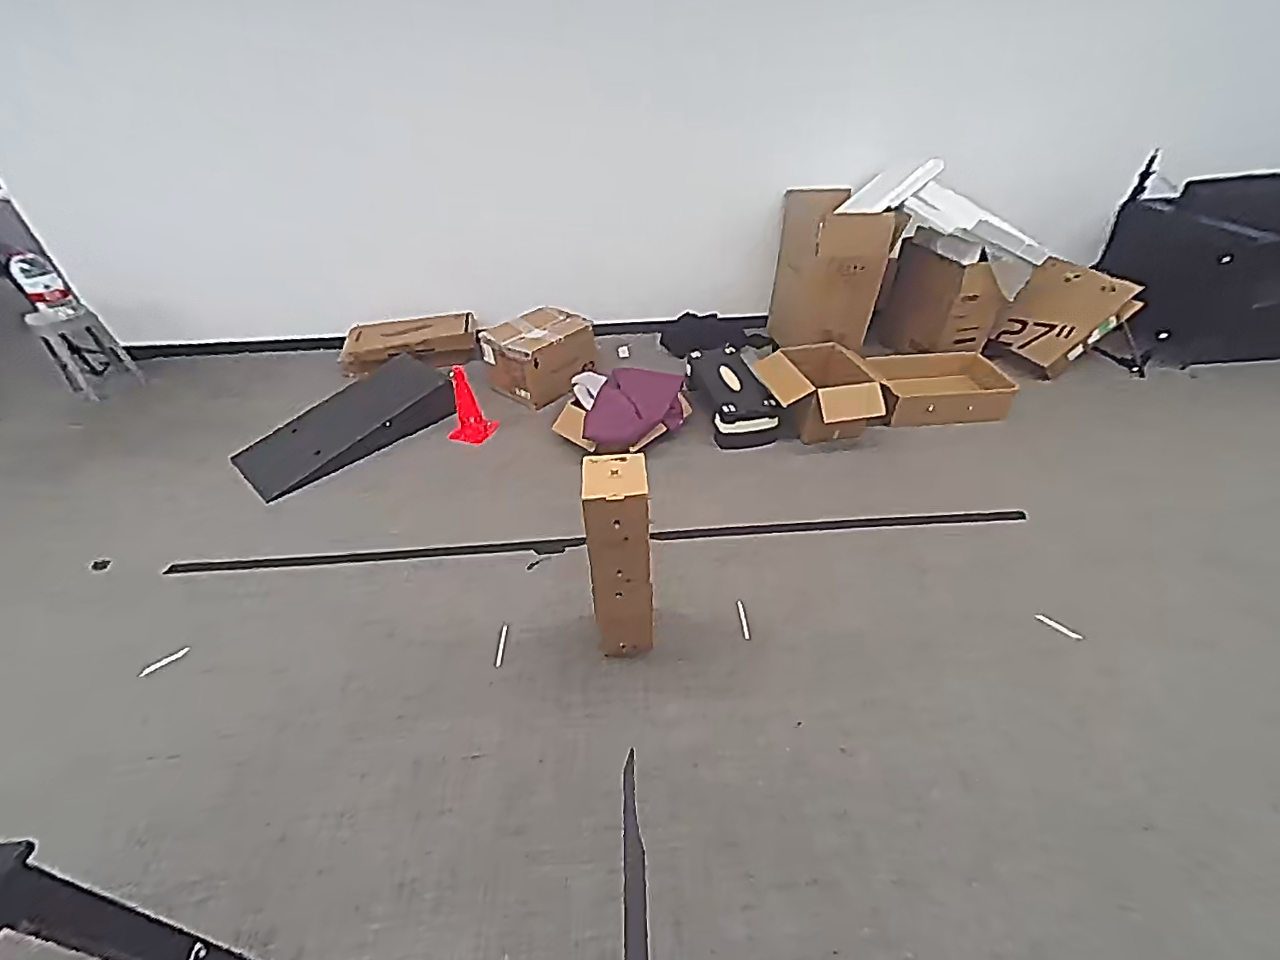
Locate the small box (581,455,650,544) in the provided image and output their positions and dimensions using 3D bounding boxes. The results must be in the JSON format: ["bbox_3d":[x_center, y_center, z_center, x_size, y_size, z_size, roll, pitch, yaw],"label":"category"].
[{"bbox_3d":[-0.061,0.055,1.424,0.168,0.176,0.179,-4,40,-1],"label":"small box"}]

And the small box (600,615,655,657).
[{"bbox_3d":[-0.046,0.438,1.734,0.168,0.176,0.179,-7,41,-5],"label":"small box"}]

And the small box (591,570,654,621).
[{"bbox_3d":[-0.051,0.310,1.631,0.179,0.176,0.168,-4,39,-2],"label":"small box"}]

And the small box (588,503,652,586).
[{"bbox_3d":[-0.053,0.181,1.530,0.168,0.176,0.179,-2,39,1],"label":"small box"}]
